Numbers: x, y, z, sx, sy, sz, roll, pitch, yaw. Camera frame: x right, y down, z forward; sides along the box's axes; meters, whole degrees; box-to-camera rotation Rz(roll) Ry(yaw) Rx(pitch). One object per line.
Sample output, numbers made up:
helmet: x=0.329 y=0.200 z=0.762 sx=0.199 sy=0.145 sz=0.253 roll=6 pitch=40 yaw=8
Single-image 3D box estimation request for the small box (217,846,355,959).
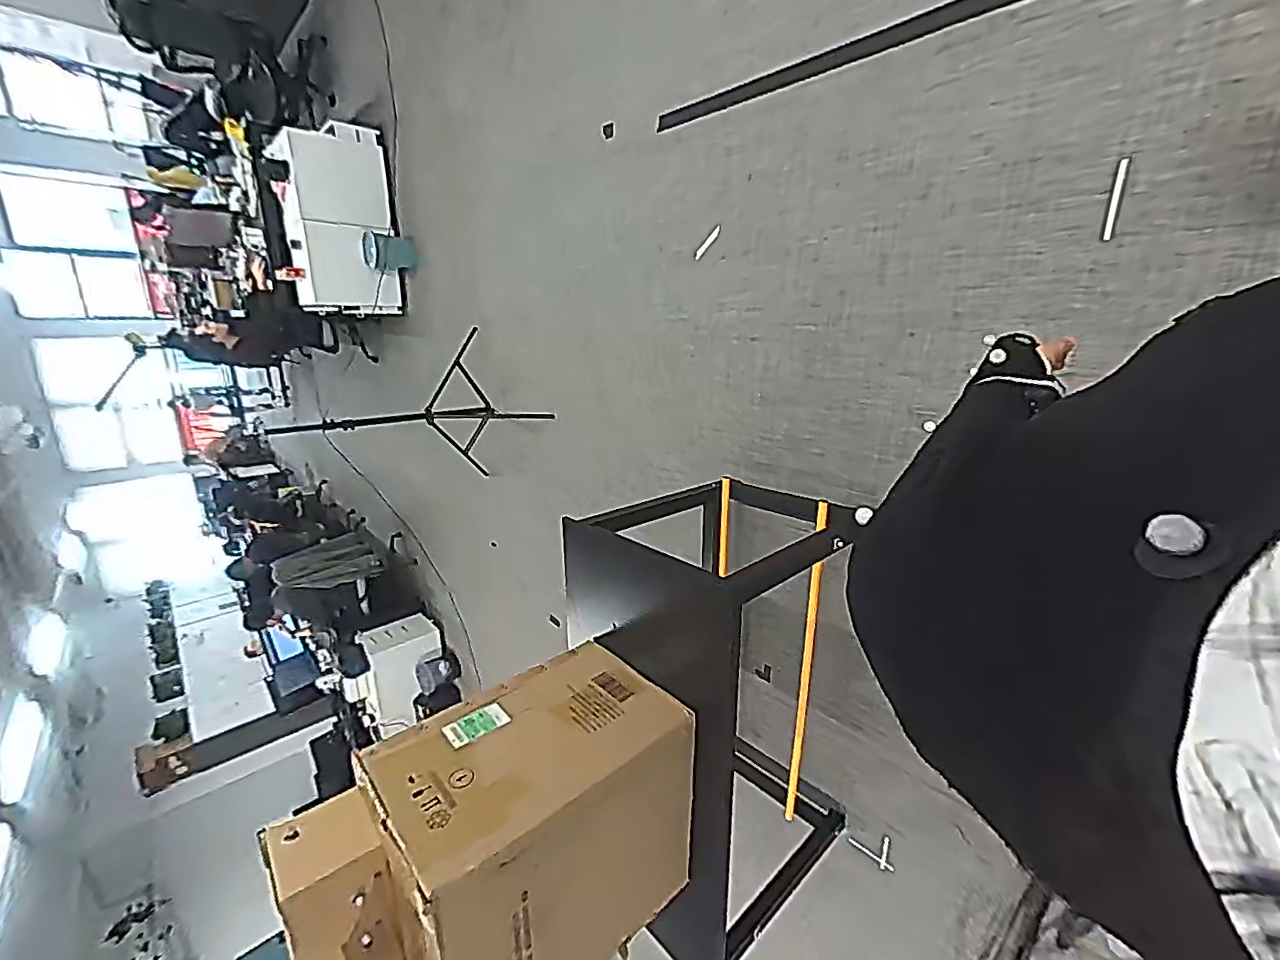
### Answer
small box: x=-0.619 y=0.795 z=0.952 sx=0.179 sy=0.176 sz=0.168 roll=16 pitch=114 yaw=47
